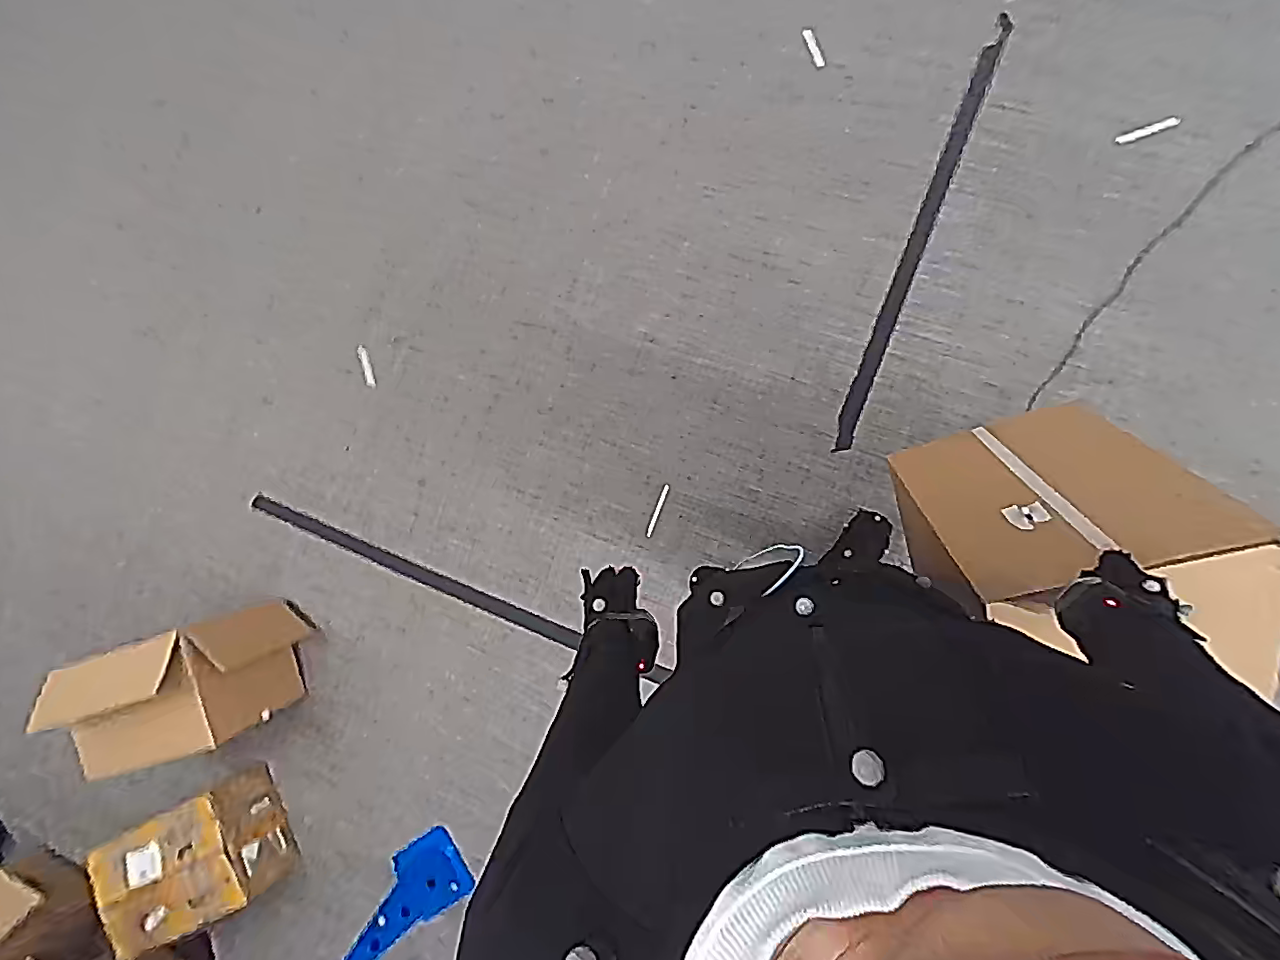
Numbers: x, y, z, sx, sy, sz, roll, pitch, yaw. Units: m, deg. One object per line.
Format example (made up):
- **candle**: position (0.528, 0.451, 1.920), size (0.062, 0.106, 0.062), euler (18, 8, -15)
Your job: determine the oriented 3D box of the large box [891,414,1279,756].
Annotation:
- **large box**: position (0.641, 0.146, 0.859), size (0.320, 0.408, 0.320), euler (-18, 116, 15)
